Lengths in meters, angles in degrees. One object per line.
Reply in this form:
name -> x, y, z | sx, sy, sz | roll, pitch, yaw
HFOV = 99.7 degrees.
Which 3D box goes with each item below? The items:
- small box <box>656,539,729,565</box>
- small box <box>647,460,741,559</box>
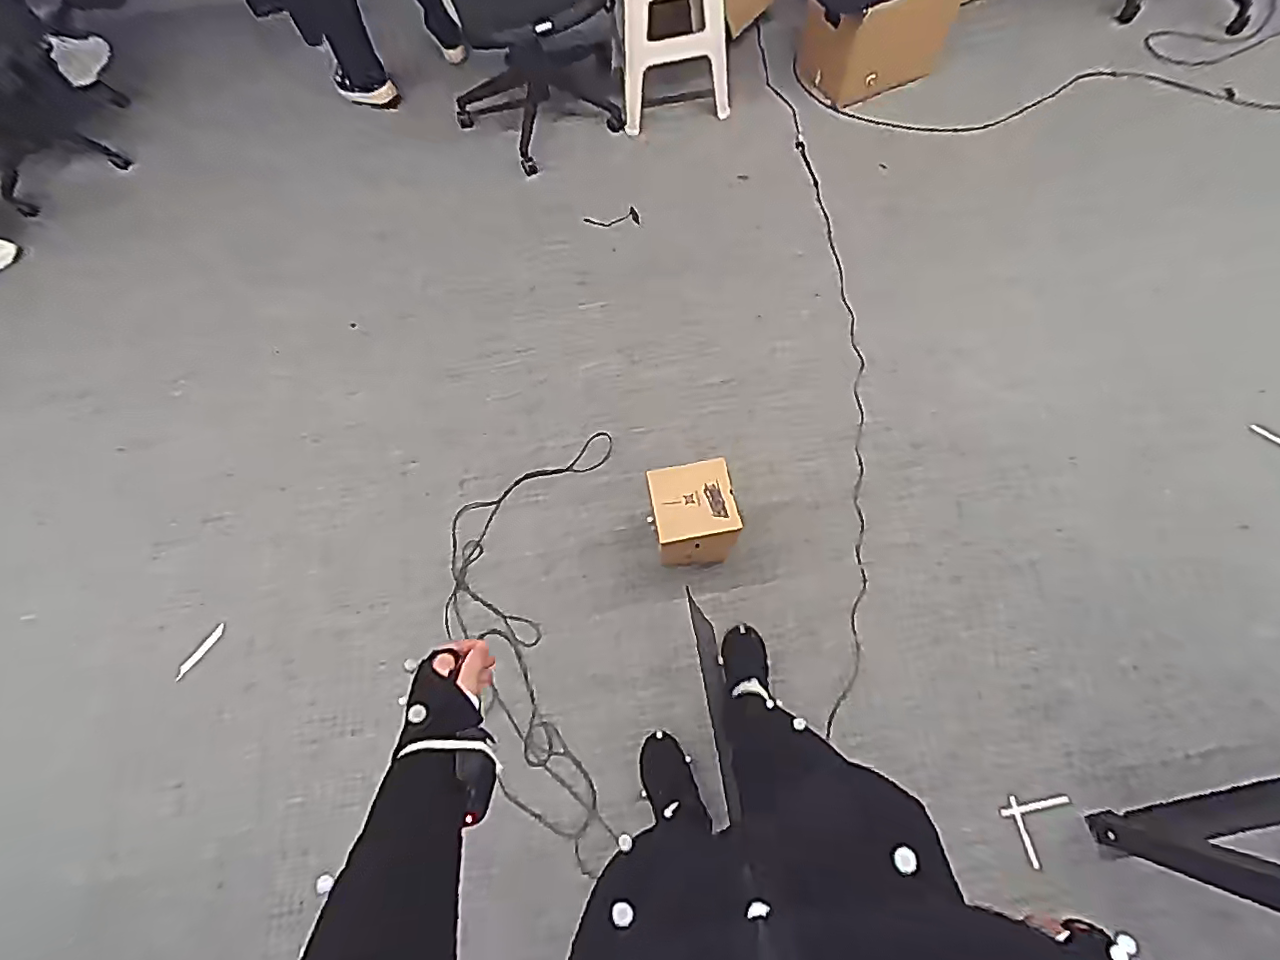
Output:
small box -> 0.130, 0.116, 1.379 | 0.179, 0.176, 0.168 | -5, 70, 3
small box -> 0.116, 0.071, 1.220 | 0.179, 0.176, 0.168 | -11, 69, 0
